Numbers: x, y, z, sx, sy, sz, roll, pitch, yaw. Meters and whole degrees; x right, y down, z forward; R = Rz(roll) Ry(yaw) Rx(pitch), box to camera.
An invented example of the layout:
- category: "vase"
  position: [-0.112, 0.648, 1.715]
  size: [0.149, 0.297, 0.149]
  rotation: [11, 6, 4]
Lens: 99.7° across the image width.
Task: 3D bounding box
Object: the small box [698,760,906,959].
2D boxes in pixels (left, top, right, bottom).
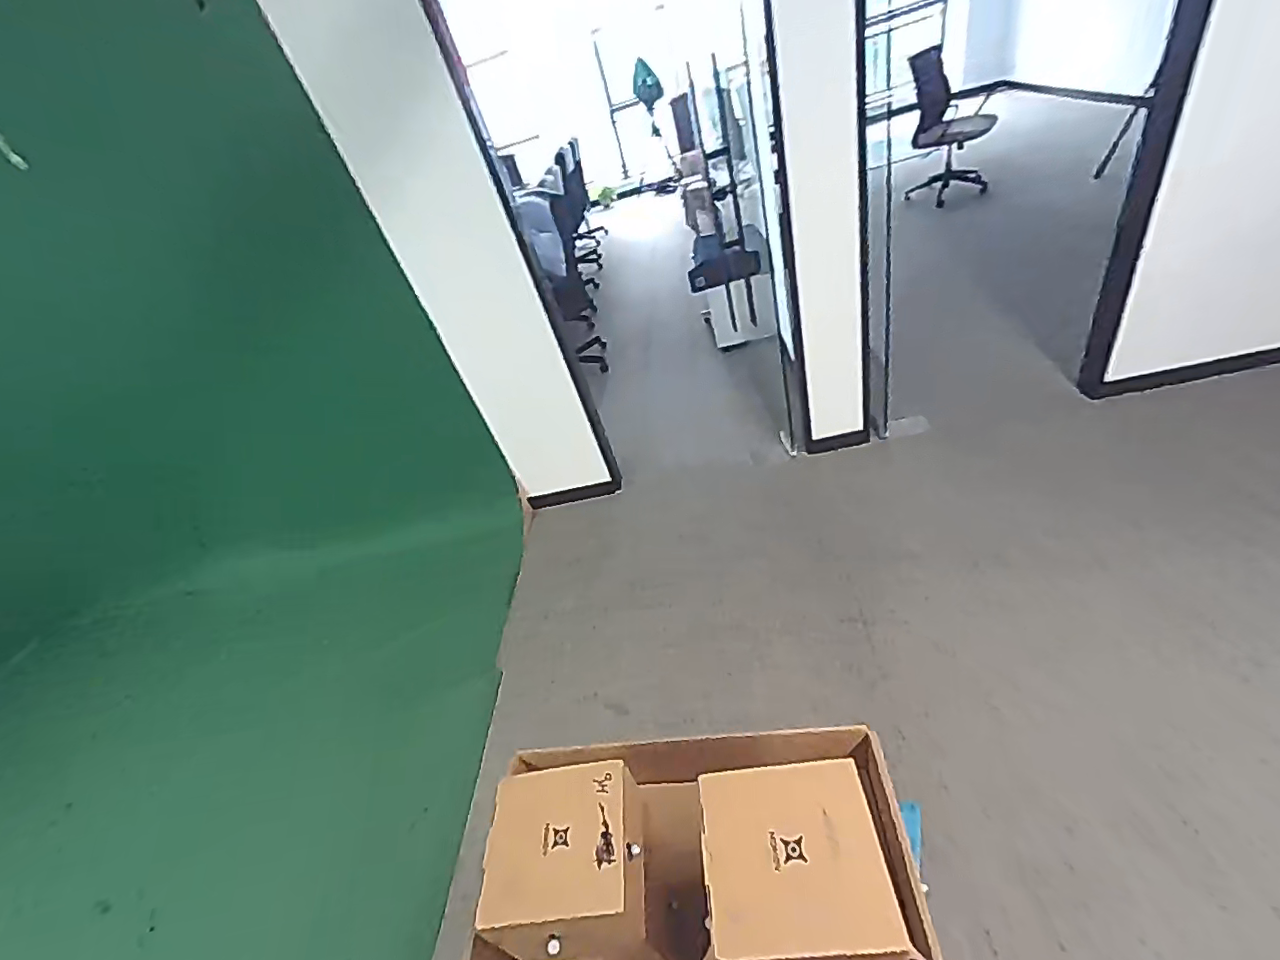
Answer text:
- category: "small box"
  position: [0.167, 0.432, 0.586]
  size: [0.179, 0.176, 0.168]
  rotation: [-10, 37, 8]

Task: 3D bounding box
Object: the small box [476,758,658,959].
- category: "small box"
  position: [-0.083, 0.492, 0.701]
  size: [0.179, 0.176, 0.168]
  rotation: [-12, 37, 7]
